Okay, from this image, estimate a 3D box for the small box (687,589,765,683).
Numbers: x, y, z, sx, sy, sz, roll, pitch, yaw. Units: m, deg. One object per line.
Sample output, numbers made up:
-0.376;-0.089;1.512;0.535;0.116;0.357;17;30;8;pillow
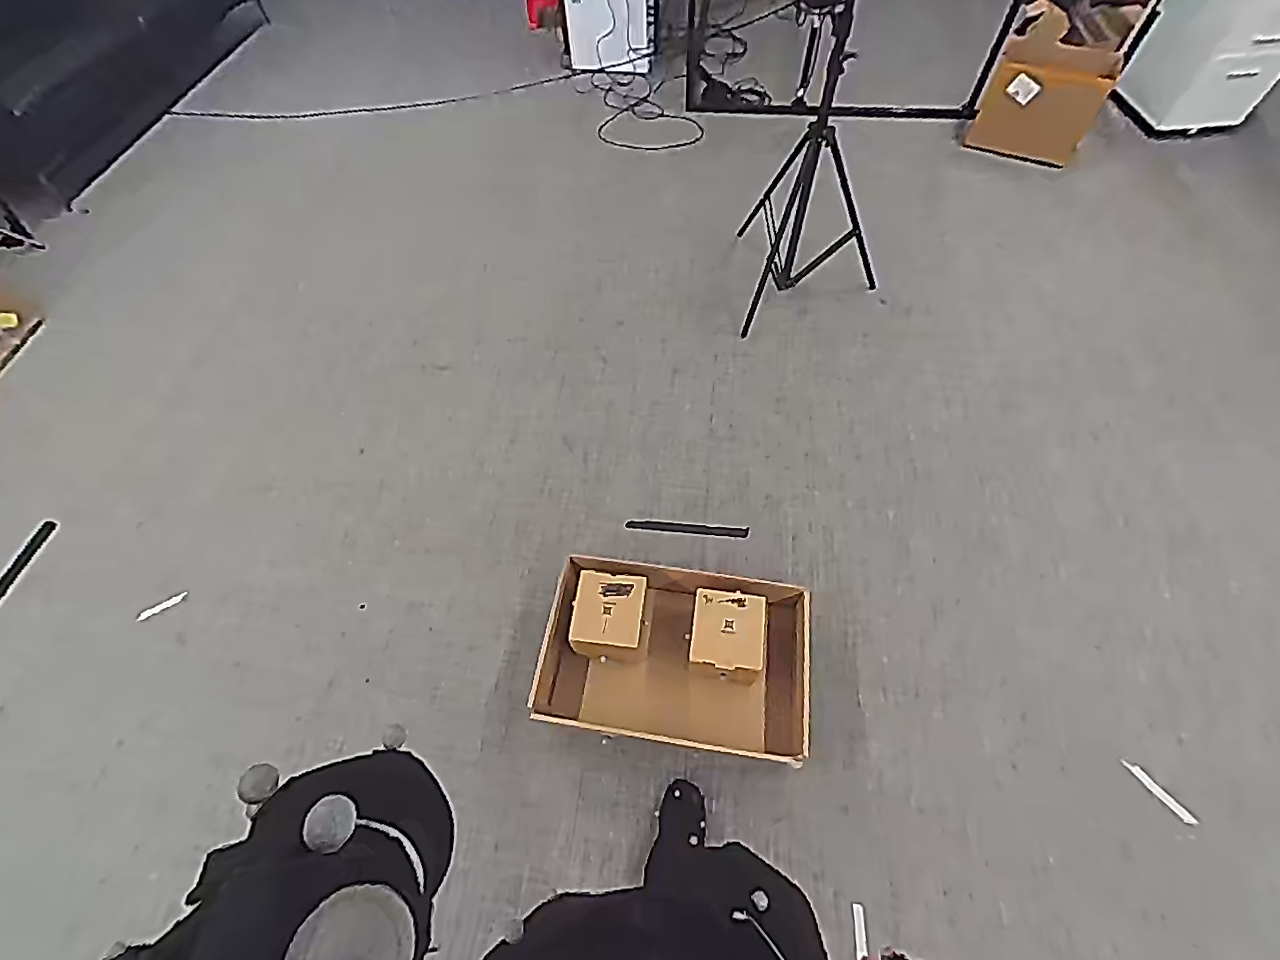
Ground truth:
0.206;0.386;1.318;0.168;0.176;0.179;7;61;7;small box
